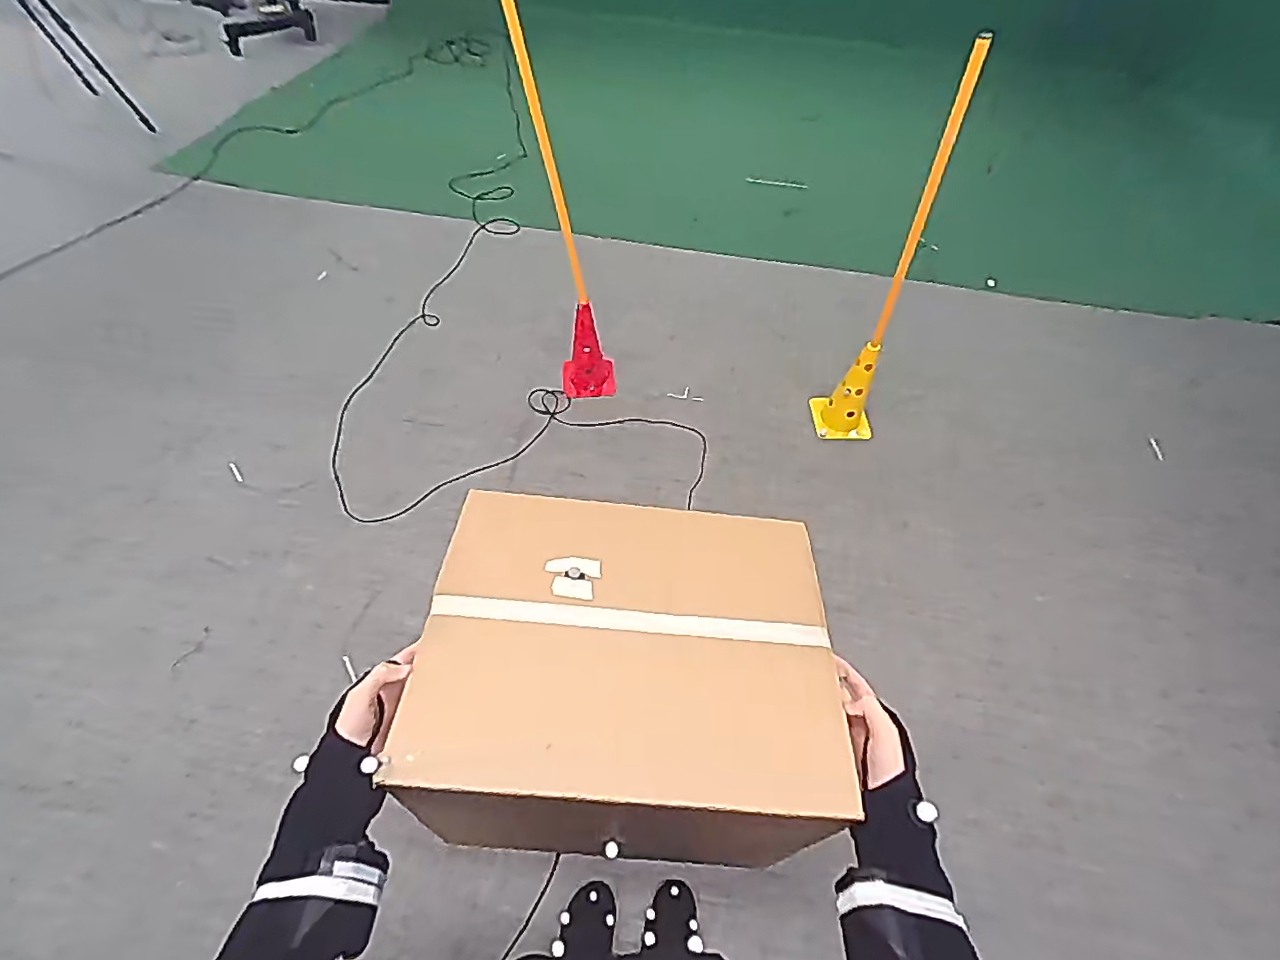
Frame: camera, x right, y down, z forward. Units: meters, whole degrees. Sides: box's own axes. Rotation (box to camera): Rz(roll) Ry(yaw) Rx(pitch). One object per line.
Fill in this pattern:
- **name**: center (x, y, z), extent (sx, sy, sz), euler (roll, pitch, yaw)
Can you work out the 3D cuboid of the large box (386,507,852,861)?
- **large box**: center (-0.019, 0.259, 0.664), extent (0.408, 0.320, 0.320), euler (5, 47, -2)
